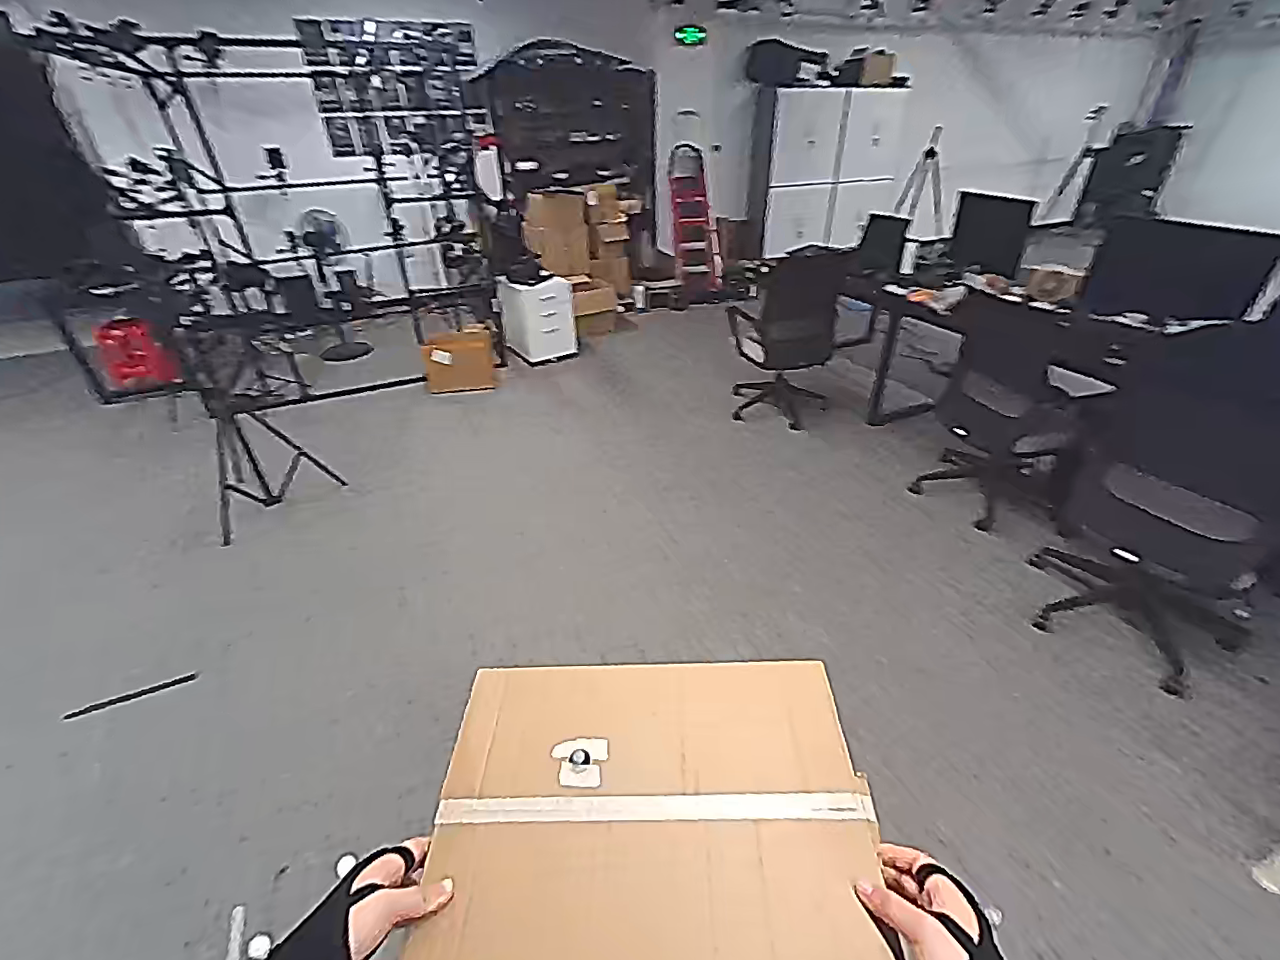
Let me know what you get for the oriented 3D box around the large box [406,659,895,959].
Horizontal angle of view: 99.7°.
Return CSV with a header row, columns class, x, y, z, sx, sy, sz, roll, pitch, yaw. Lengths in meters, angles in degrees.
class,x,y,z,sx,sy,sz,roll,pitch,yaw
large box,0.017,0.436,0.613,0.408,0.320,0.320,-5,37,4
